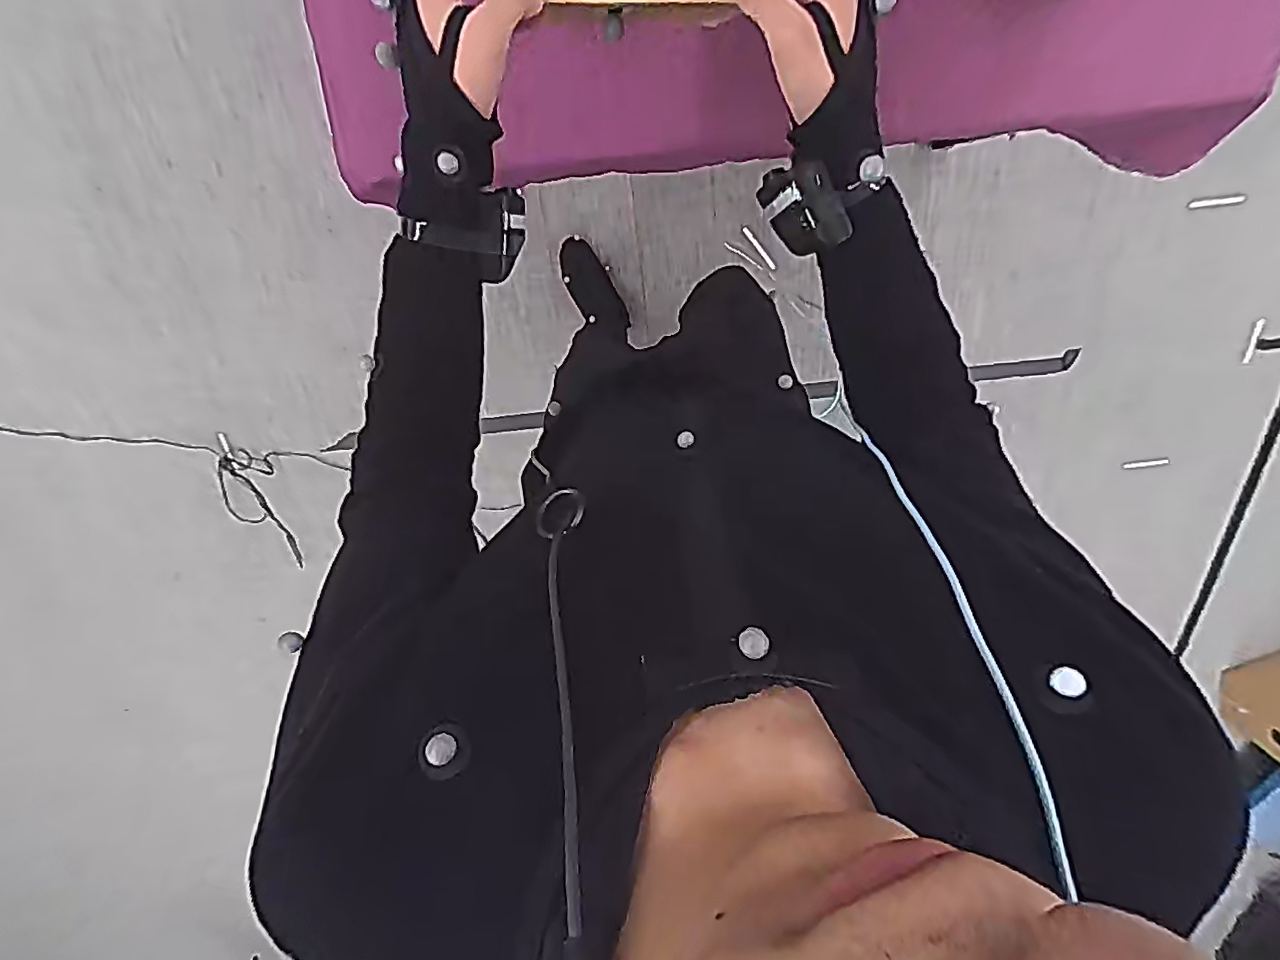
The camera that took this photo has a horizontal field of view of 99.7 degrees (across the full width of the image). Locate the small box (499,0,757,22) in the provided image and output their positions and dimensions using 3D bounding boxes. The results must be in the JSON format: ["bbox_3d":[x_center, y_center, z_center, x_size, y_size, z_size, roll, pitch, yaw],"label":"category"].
[{"bbox_3d":[-0.011,-0.422,0.362,0.179,0.176,0.168,-1,127,-1],"label":"small box"}]
